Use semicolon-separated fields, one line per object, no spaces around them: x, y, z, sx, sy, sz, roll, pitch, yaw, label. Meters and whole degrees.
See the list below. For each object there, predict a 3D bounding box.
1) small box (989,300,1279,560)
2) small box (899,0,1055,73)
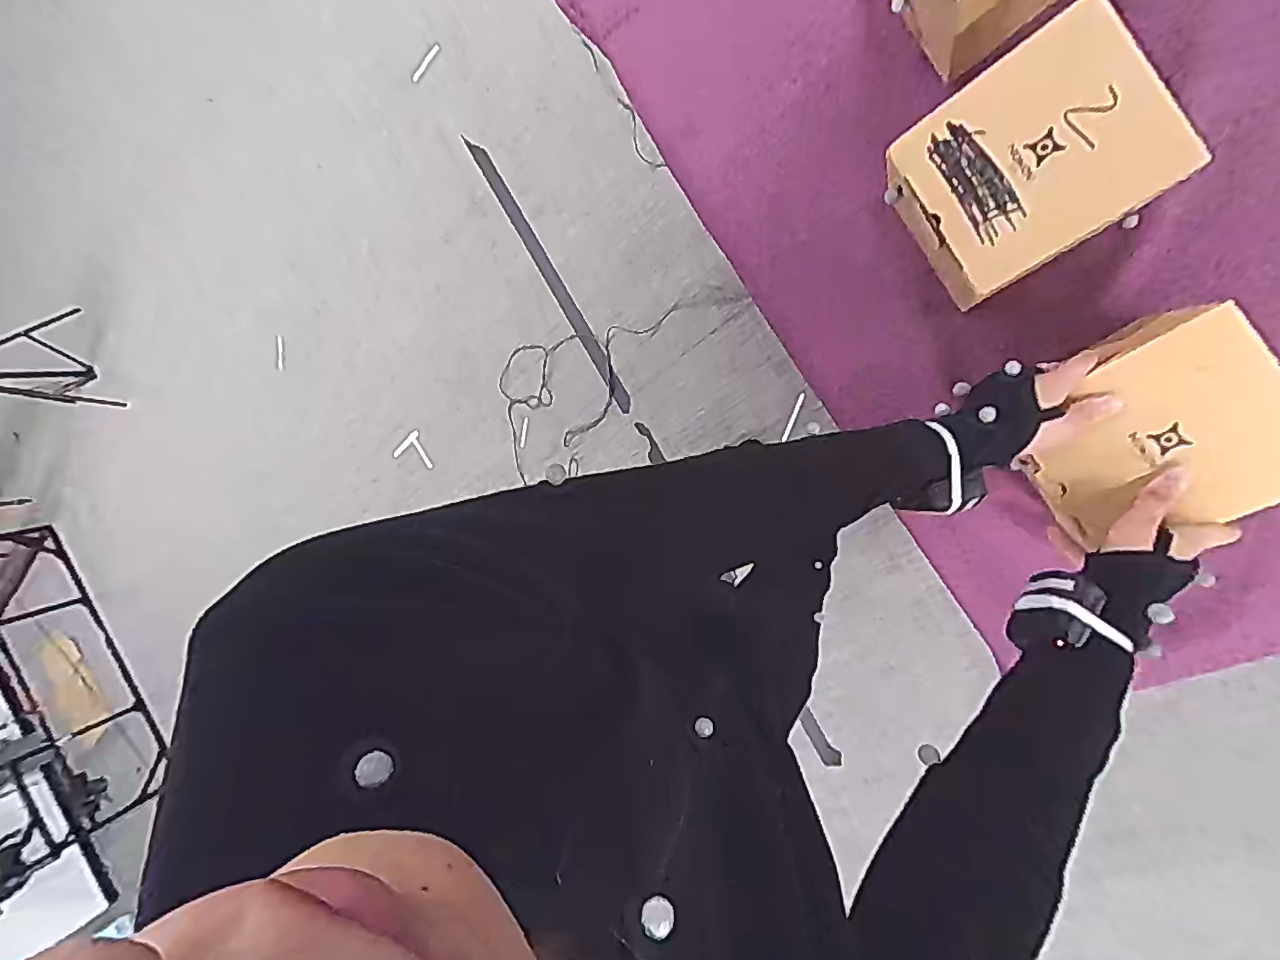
0.482;-0.051;0.533;0.179;0.176;0.168;-34;84;29;small box
0.335;-0.536;0.493;0.179;0.176;0.168;-31;87;29;small box
